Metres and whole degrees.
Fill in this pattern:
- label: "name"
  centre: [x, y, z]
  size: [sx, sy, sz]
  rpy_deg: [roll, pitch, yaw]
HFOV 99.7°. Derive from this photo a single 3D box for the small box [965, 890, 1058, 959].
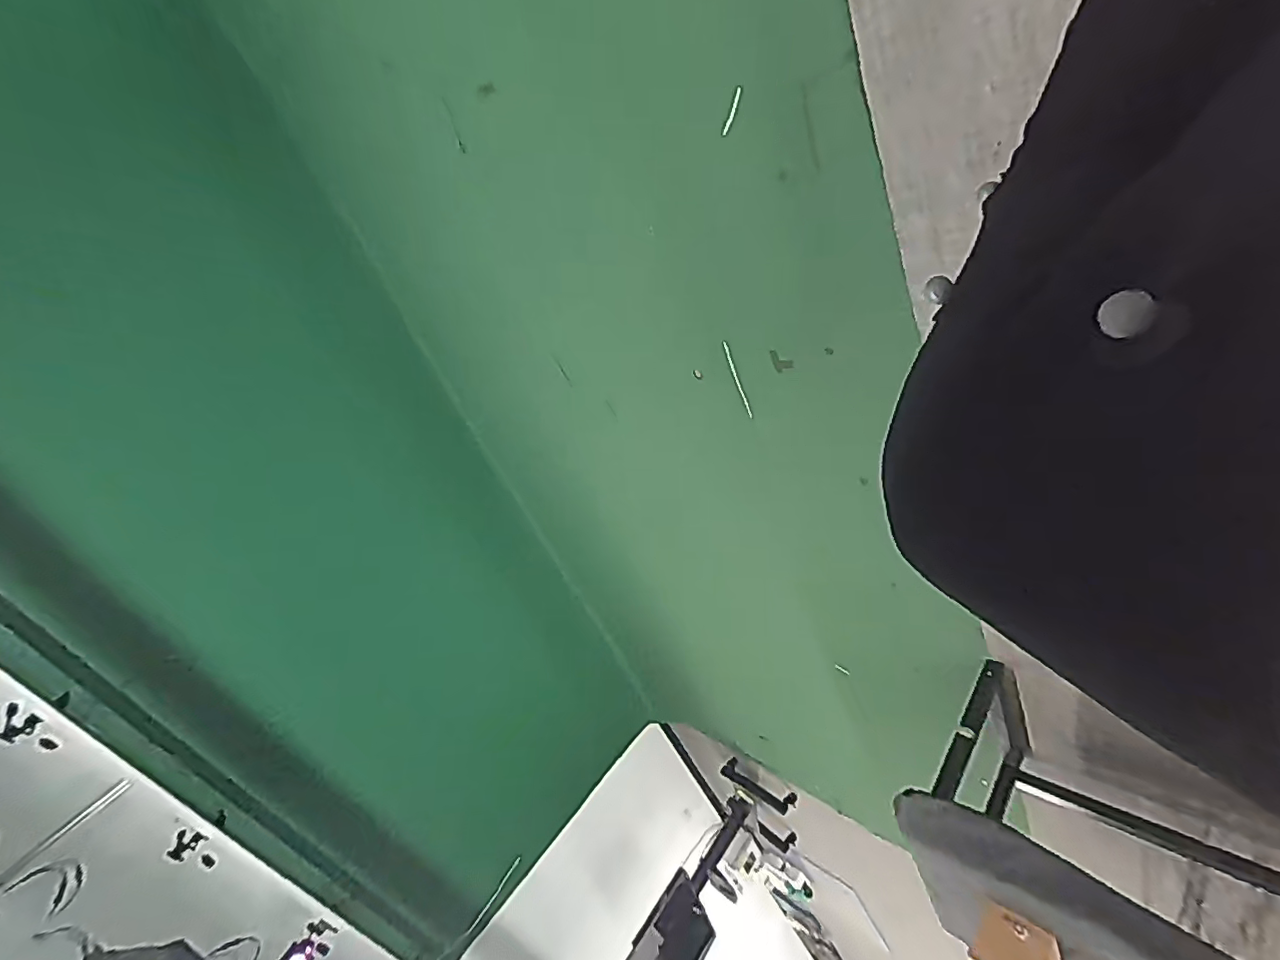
- label: "small box"
  centre: [1.010, 1.274, 1.465]
  size: [0.168, 0.176, 0.179]
  rpy_deg: [3, 128, 49]
